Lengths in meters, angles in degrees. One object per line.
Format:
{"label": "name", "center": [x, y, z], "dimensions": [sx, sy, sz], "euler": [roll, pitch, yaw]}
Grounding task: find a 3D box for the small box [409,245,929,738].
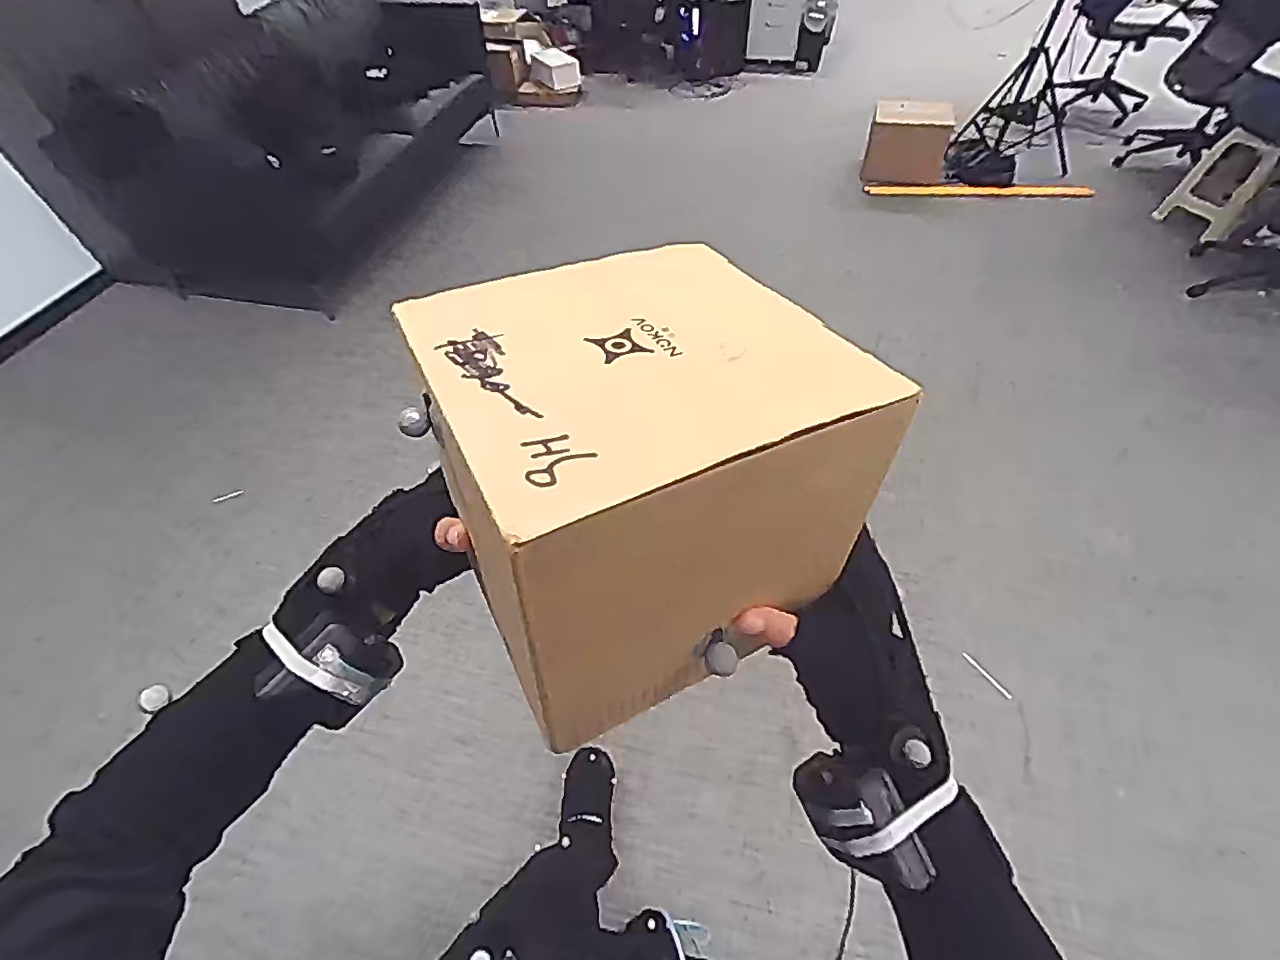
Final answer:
{"label": "small box", "center": [0.000, -0.002, 0.288], "dimensions": [0.179, 0.176, 0.168], "euler": [-19, 48, -23]}
